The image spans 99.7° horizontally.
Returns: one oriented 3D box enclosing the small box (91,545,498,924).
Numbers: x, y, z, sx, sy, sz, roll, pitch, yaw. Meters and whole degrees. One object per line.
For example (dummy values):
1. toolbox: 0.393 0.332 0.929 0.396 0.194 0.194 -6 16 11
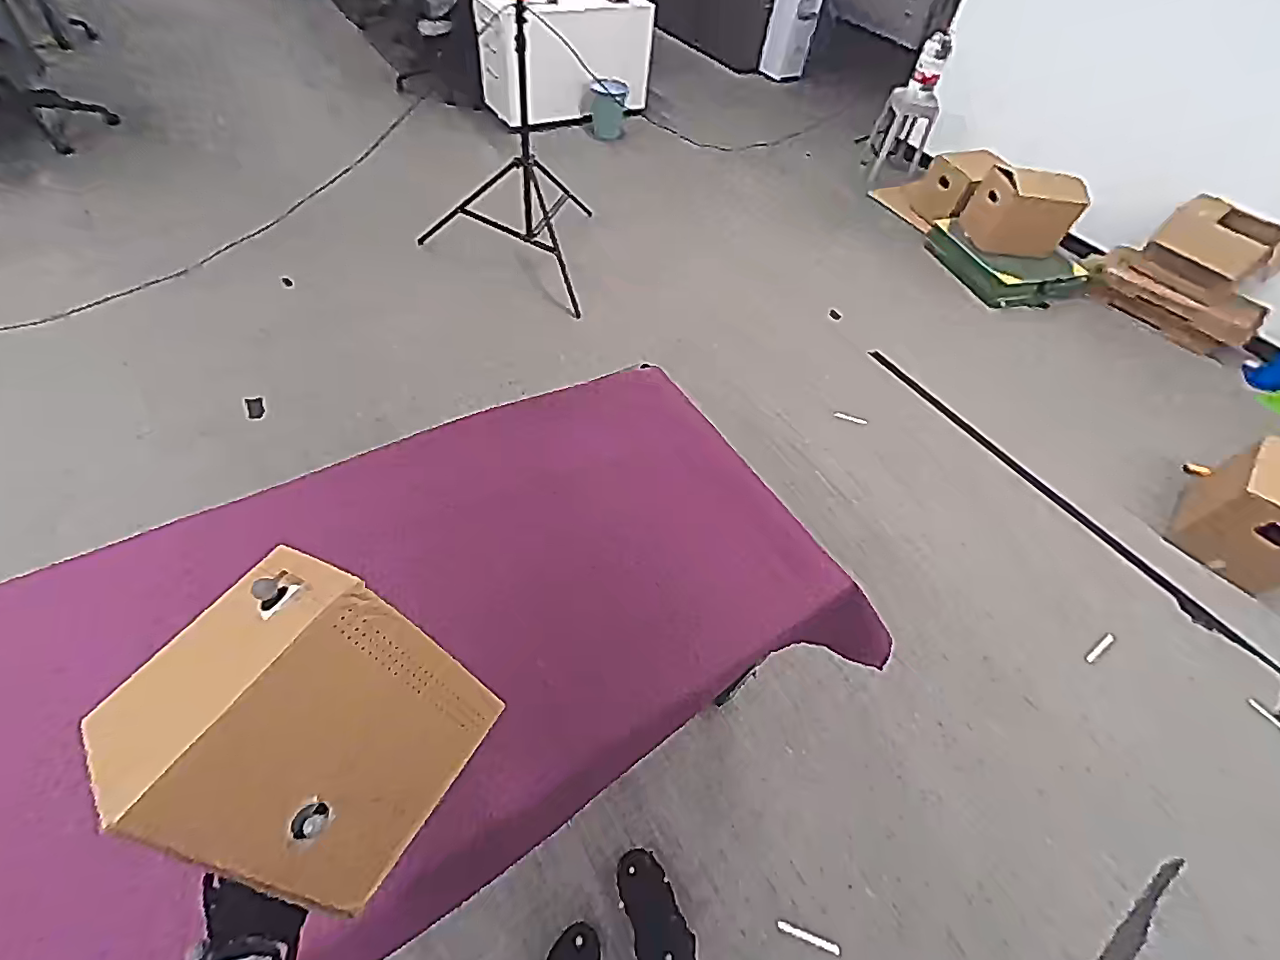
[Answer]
1. small box: -0.243 0.174 0.409 0.168 0.179 0.176 2 45 42
